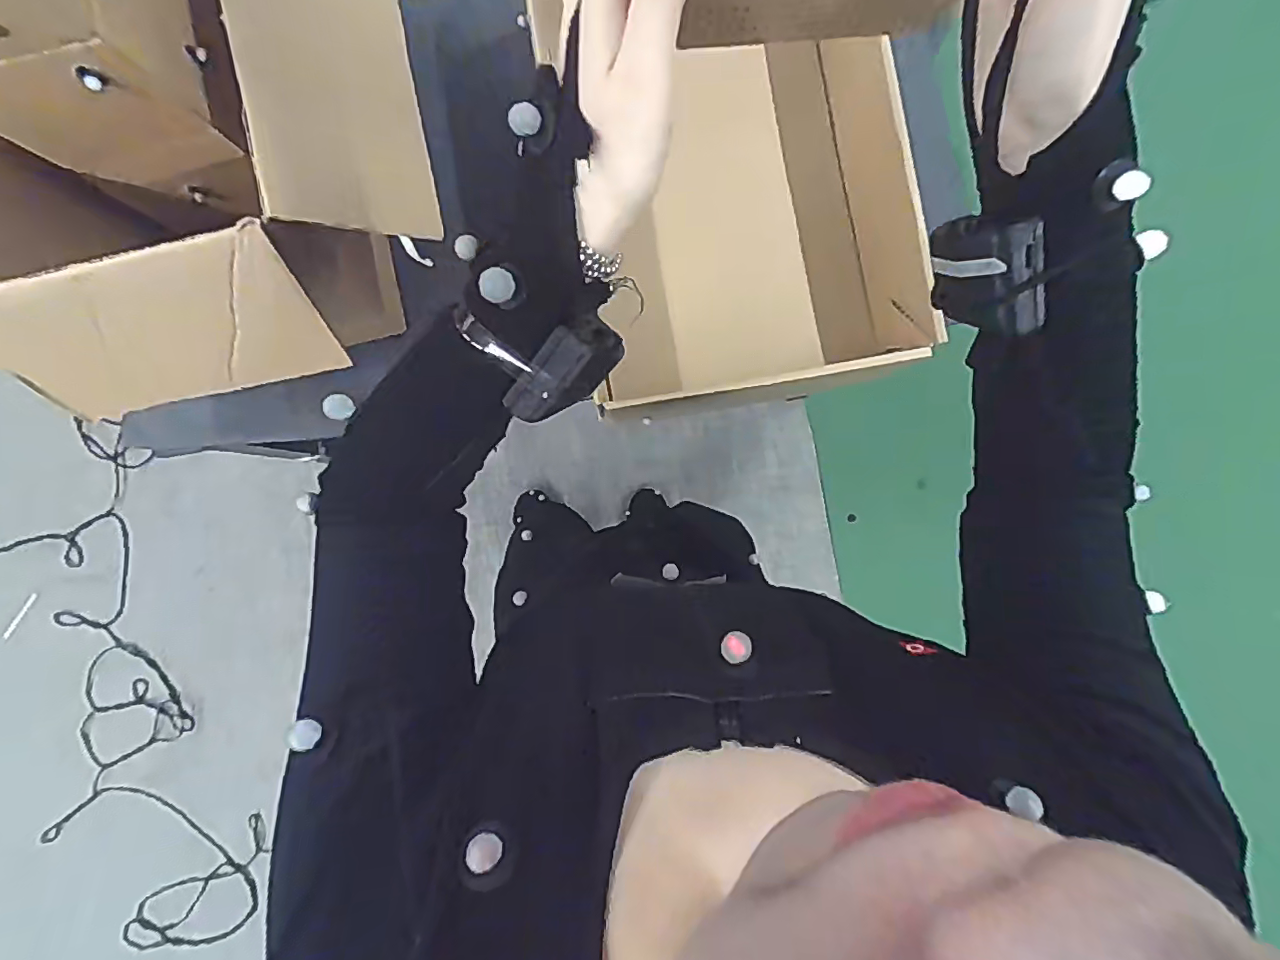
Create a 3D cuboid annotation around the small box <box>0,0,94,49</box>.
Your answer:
[{"bbox_3d":[-0.525,-0.427,0.349,0.168,0.176,0.179,-10,92,0],"label":"small box"}]

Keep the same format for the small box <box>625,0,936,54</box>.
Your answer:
[{"bbox_3d":[0.074,-0.310,0.217,0.179,0.176,0.168,-5,101,0],"label":"small box"}]
